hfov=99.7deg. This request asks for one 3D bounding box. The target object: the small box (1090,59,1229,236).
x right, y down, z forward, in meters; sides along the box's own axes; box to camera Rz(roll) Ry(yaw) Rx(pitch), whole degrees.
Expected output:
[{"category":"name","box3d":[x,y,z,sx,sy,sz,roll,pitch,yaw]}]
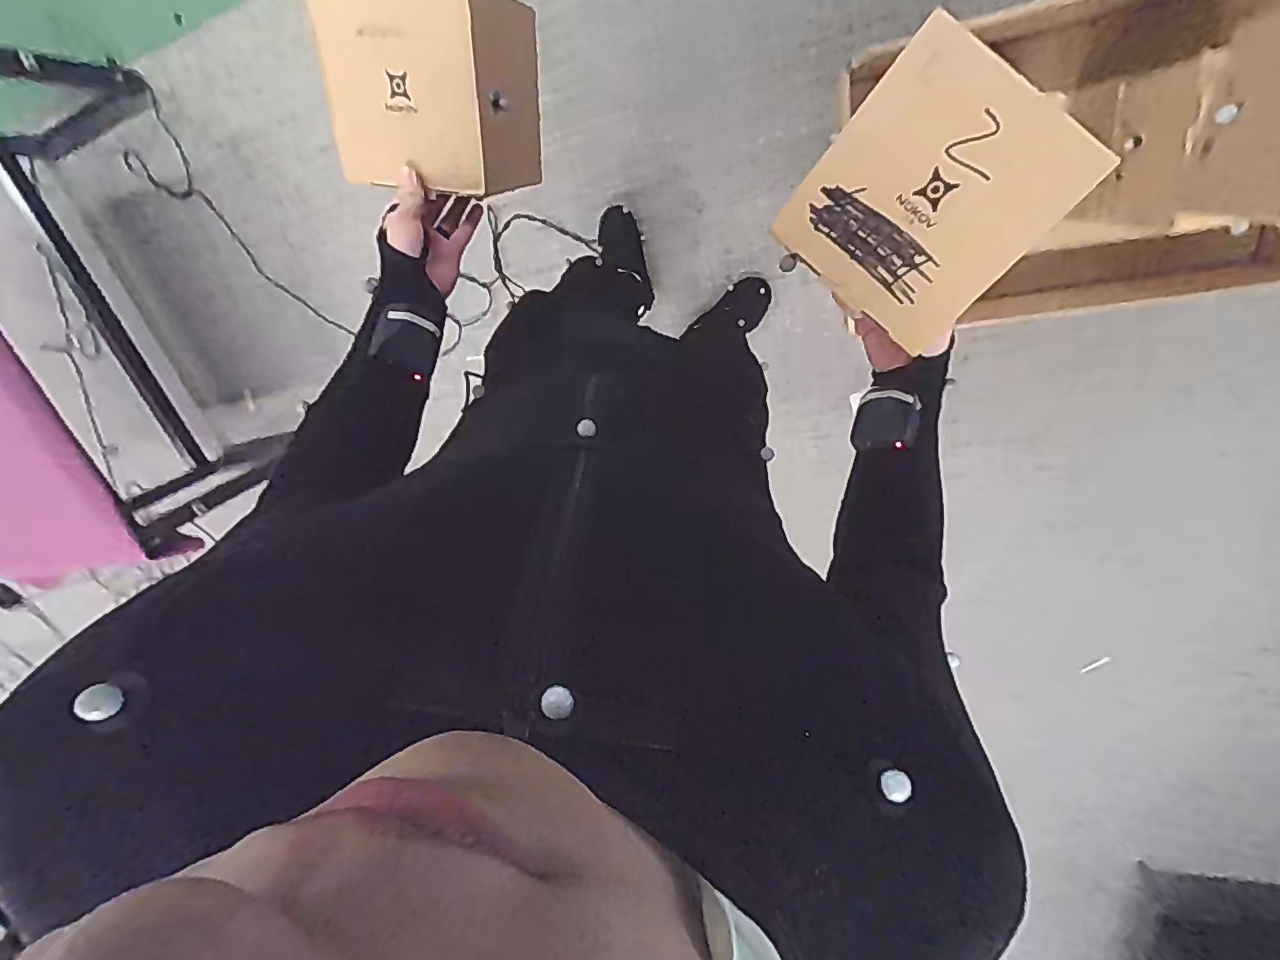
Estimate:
[{"category":"small box","box3d":[0.671,-0.392,0.623,0.179,0.176,0.168,-4,116,19]}]

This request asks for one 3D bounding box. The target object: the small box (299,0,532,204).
[{"category":"small box","box3d":[-0.226,-0.419,0.598,0.168,0.176,0.179,9,124,7]}]

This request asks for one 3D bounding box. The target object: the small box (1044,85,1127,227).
[{"category":"small box","box3d":[0.713,-0.466,0.761,0.179,0.176,0.168,-4,115,18]}]

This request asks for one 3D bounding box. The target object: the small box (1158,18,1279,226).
[{"category":"small box","box3d":[0.634,-0.322,0.478,0.179,0.176,0.168,5,119,15]}]
